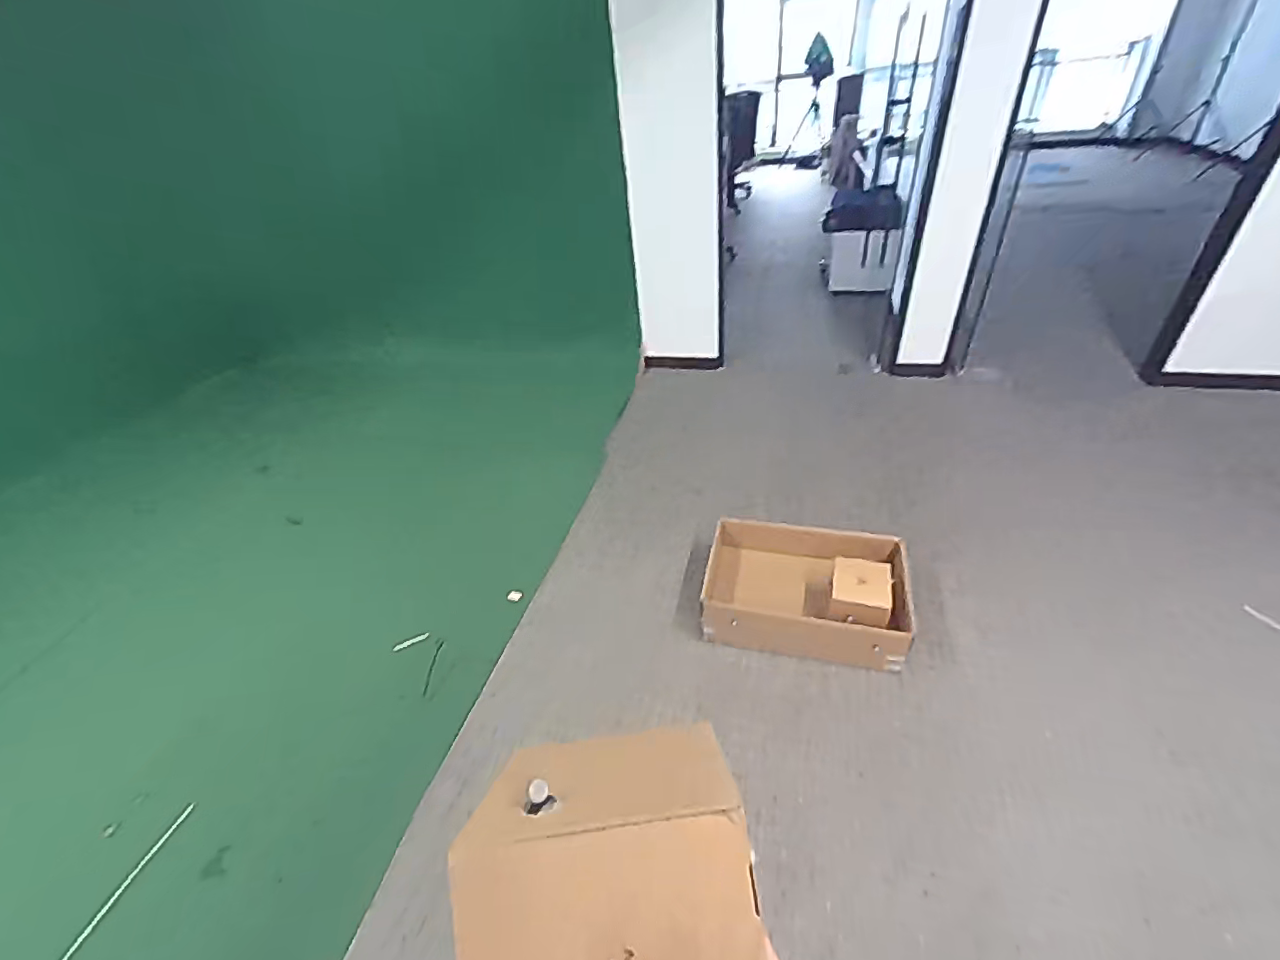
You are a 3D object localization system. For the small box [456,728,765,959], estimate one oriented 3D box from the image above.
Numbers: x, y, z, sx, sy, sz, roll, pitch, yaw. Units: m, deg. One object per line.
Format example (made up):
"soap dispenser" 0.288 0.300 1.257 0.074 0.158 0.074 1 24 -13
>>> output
"small box" -0.013 0.294 0.387 0.179 0.176 0.168 -7 82 -1

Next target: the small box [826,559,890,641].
"small box" 0.678 0.376 1.687 0.168 0.176 0.179 7 40 17
